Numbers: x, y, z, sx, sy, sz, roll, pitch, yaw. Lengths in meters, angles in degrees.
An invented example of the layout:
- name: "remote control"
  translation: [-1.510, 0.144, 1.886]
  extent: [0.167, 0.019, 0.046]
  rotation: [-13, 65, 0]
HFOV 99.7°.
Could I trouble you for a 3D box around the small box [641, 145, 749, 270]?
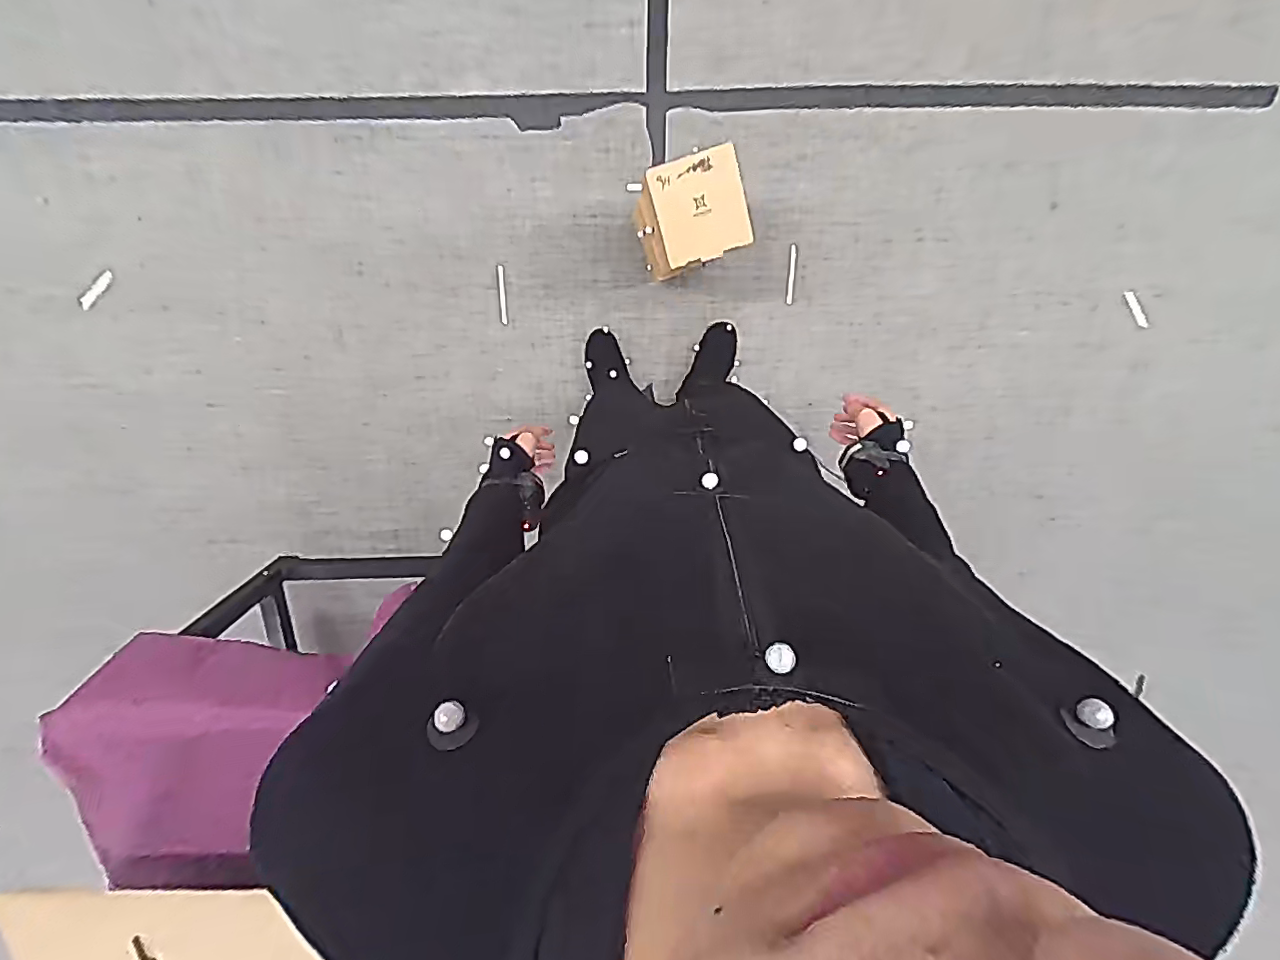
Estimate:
- name: "small box"
  translation: [0.104, -0.529, 1.072]
  extent: [0.168, 0.176, 0.179]
  rotation: [-16, 110, 3]
